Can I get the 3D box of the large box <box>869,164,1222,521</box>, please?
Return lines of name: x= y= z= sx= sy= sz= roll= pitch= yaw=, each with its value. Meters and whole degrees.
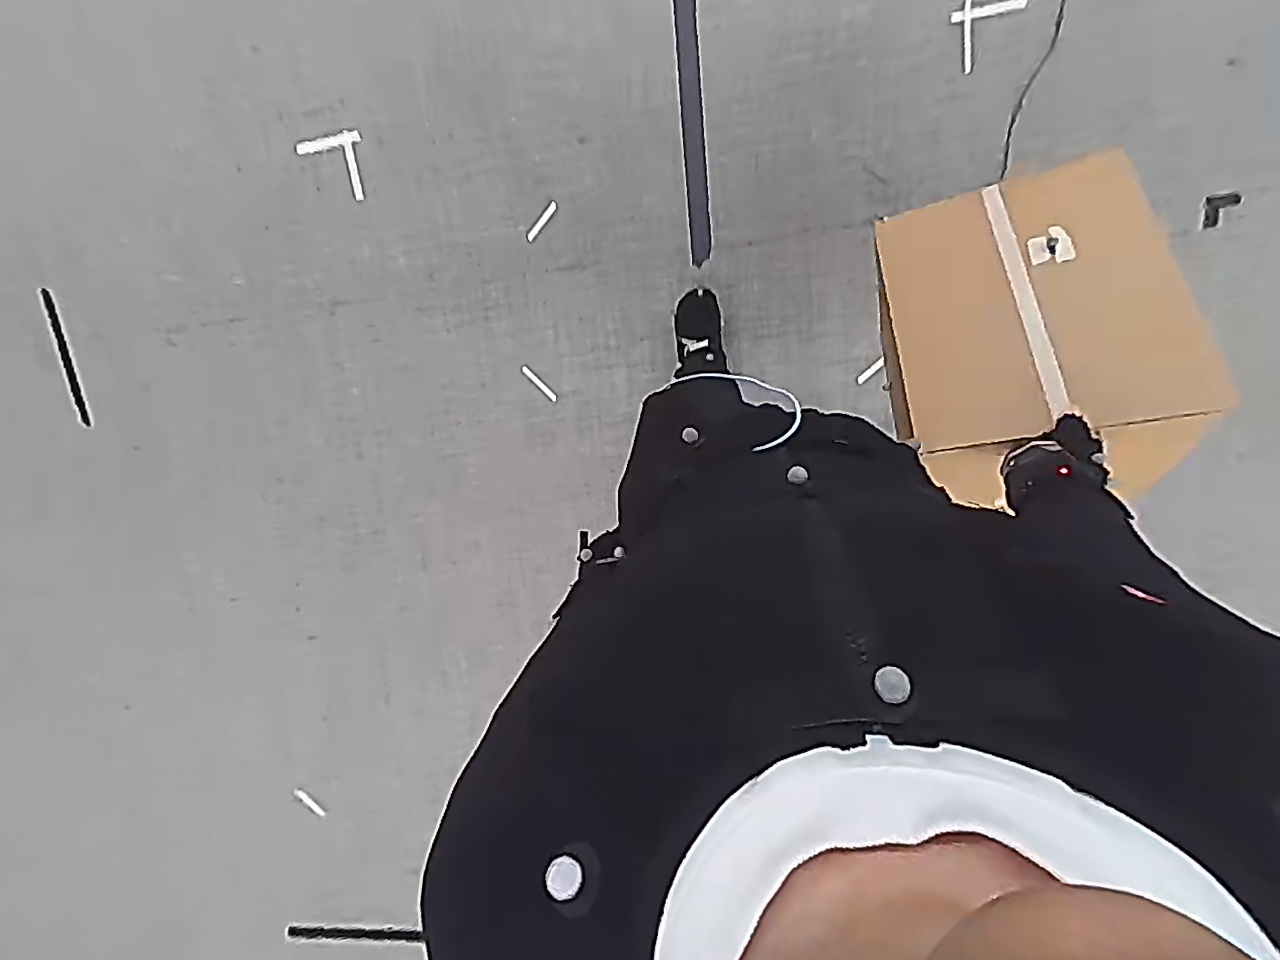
large box: x=0.565 y=-0.186 z=0.855 sx=0.320 sy=0.320 sz=0.408 roll=-9 pitch=64 yaw=20
